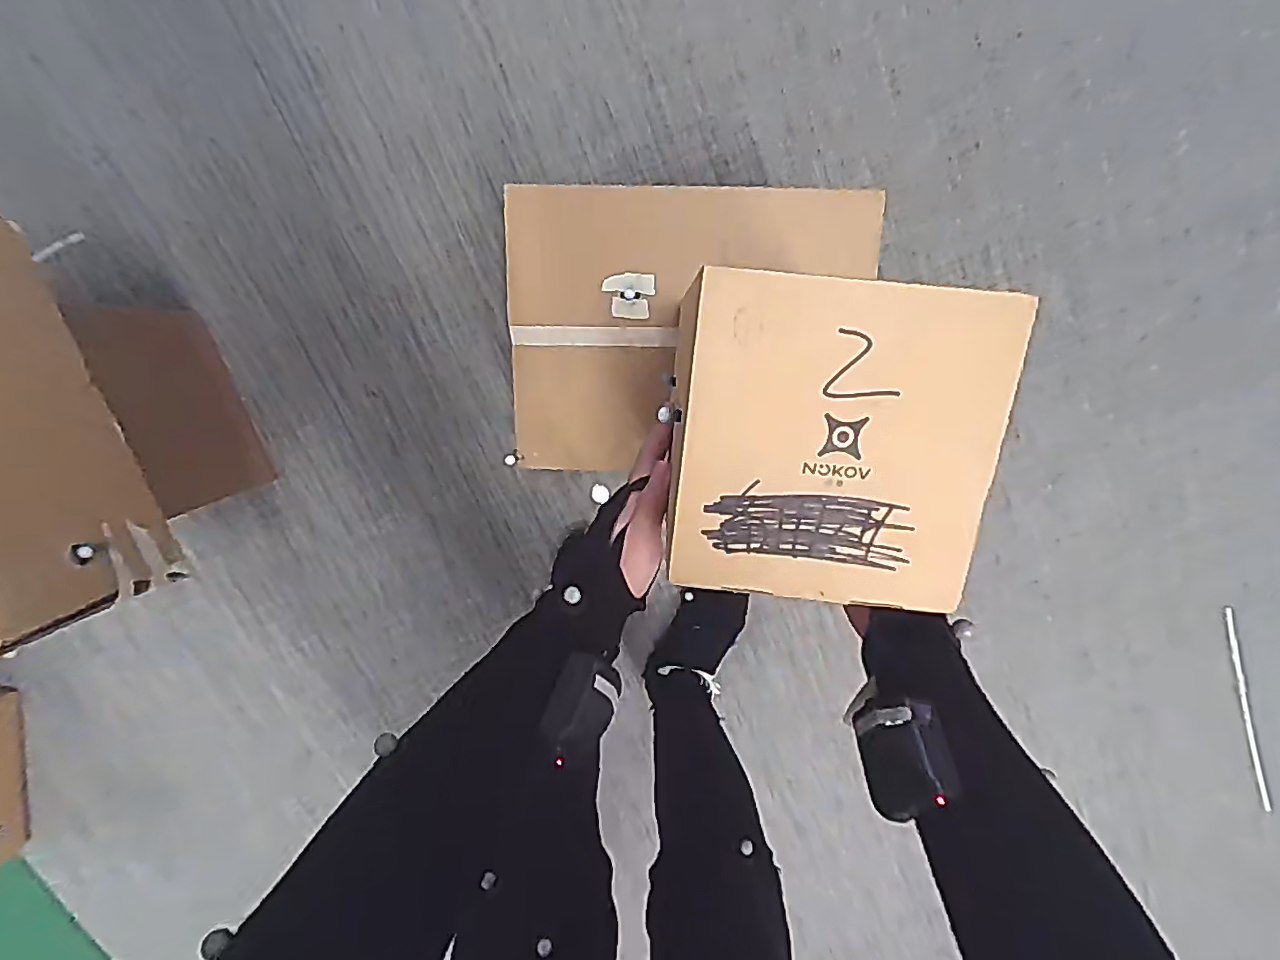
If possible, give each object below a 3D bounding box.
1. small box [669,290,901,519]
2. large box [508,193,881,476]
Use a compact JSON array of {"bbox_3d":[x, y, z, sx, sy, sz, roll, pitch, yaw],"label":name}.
[{"bbox_3d":[0.118,-0.078,0.521,0.168,0.176,0.179,6,104,0],"label":"small box"},{"bbox_3d":[0.063,-0.191,0.752,0.408,0.320,0.320,2,104,2],"label":"large box"}]
